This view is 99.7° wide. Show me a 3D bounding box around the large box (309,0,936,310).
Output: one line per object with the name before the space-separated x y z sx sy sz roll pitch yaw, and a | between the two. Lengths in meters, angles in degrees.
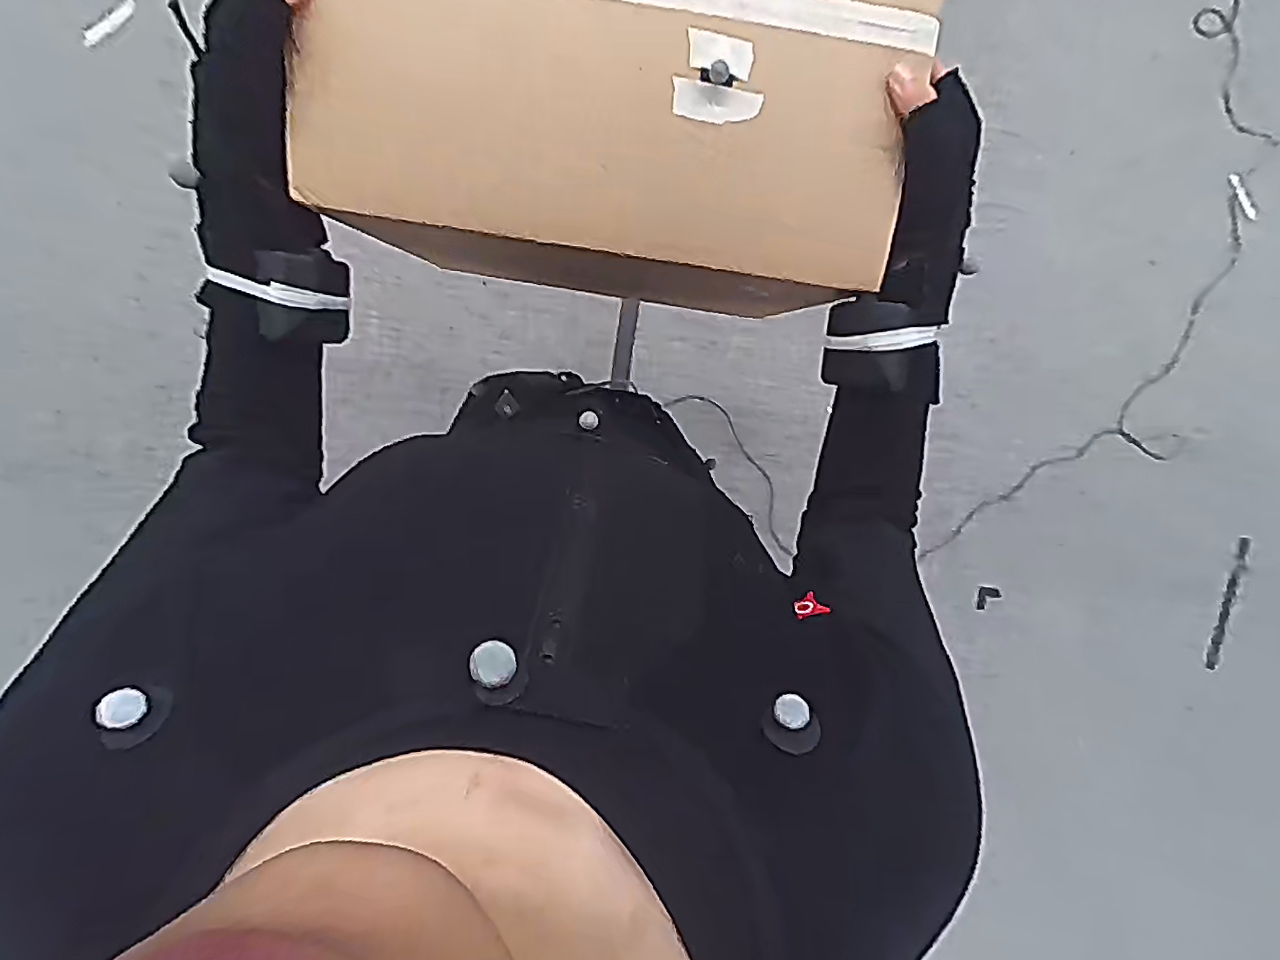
large box | -0.015 -0.347 0.490 0.408 0.320 0.320 7 104 -5
